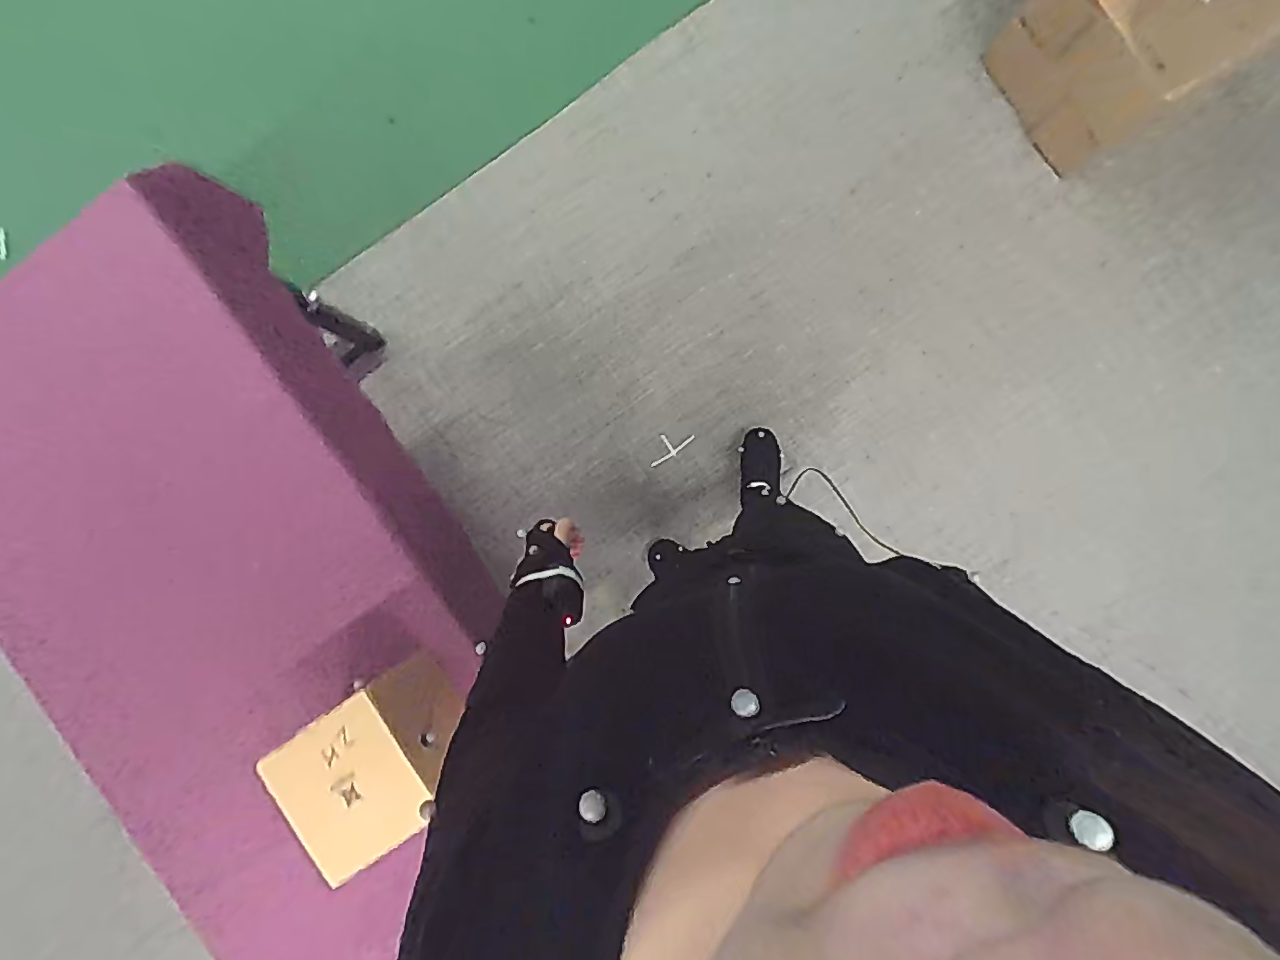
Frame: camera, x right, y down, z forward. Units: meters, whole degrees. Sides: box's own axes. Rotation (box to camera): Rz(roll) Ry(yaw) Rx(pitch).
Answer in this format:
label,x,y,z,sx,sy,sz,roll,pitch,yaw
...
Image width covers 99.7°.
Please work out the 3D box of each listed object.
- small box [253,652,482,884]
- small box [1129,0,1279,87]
label,x,y,z,sx,sy,sz,roll,pitch,yaw
small box,-0.339,0.359,0.711,0.168,0.176,0.179,-34,87,2
small box,1.157,-0.948,1.081,0.179,0.176,0.168,-29,87,0
